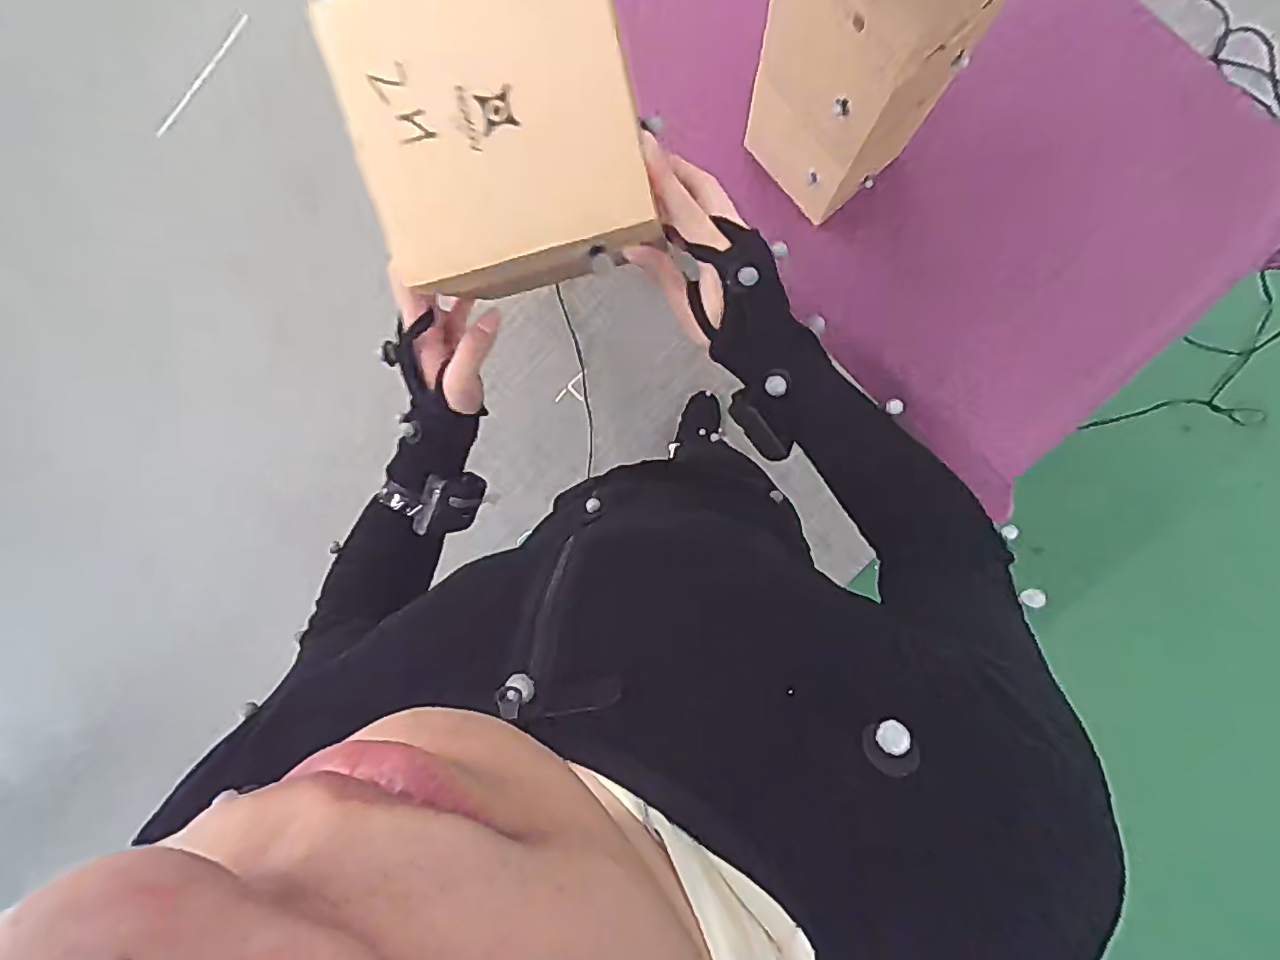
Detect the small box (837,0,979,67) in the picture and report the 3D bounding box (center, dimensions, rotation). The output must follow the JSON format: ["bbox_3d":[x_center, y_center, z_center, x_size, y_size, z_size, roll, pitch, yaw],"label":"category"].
[{"bbox_3d":[0.246,-0.494,0.429,0.179,0.176,0.168,-41,89,7],"label":"small box"}]

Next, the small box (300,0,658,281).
[{"bbox_3d":[-0.087,-0.250,0.389,0.179,0.176,0.168,-11,105,10],"label":"small box"}]

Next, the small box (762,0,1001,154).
[{"bbox_3d":[0.257,-0.500,0.591,0.168,0.176,0.179,-41,89,7],"label":"small box"}]
